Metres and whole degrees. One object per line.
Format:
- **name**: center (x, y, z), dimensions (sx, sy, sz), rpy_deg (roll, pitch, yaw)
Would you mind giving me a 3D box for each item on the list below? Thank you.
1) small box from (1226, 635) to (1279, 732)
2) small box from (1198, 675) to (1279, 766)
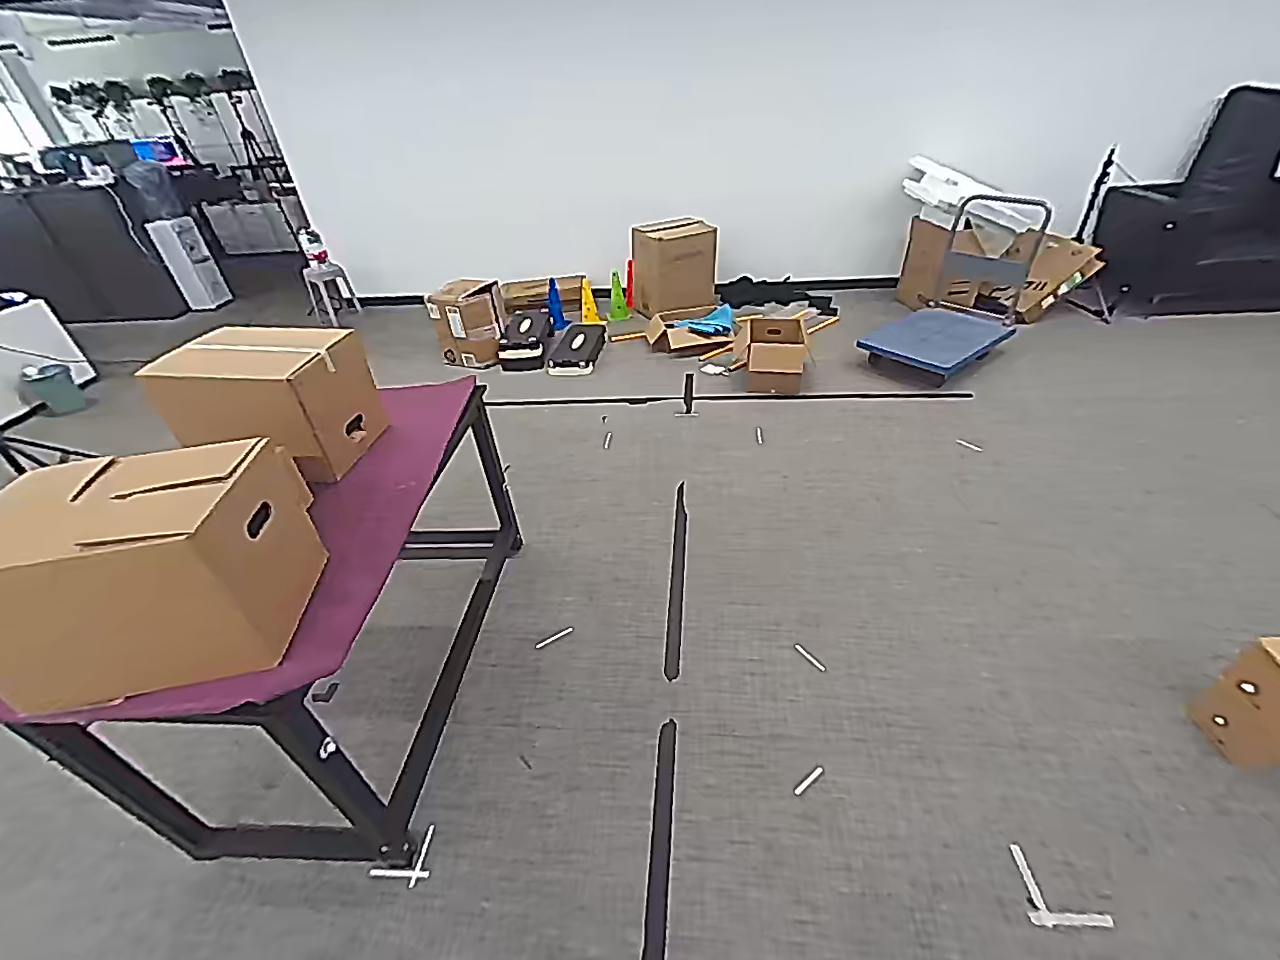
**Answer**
- **small box**: center (1.632, 0.502, 1.327), dimensions (0.179, 0.176, 0.168), rpy_deg (-2, 36, 4)
- **small box**: center (1.641, 0.633, 1.423), dimensions (0.179, 0.176, 0.168), rpy_deg (-2, 37, 3)
